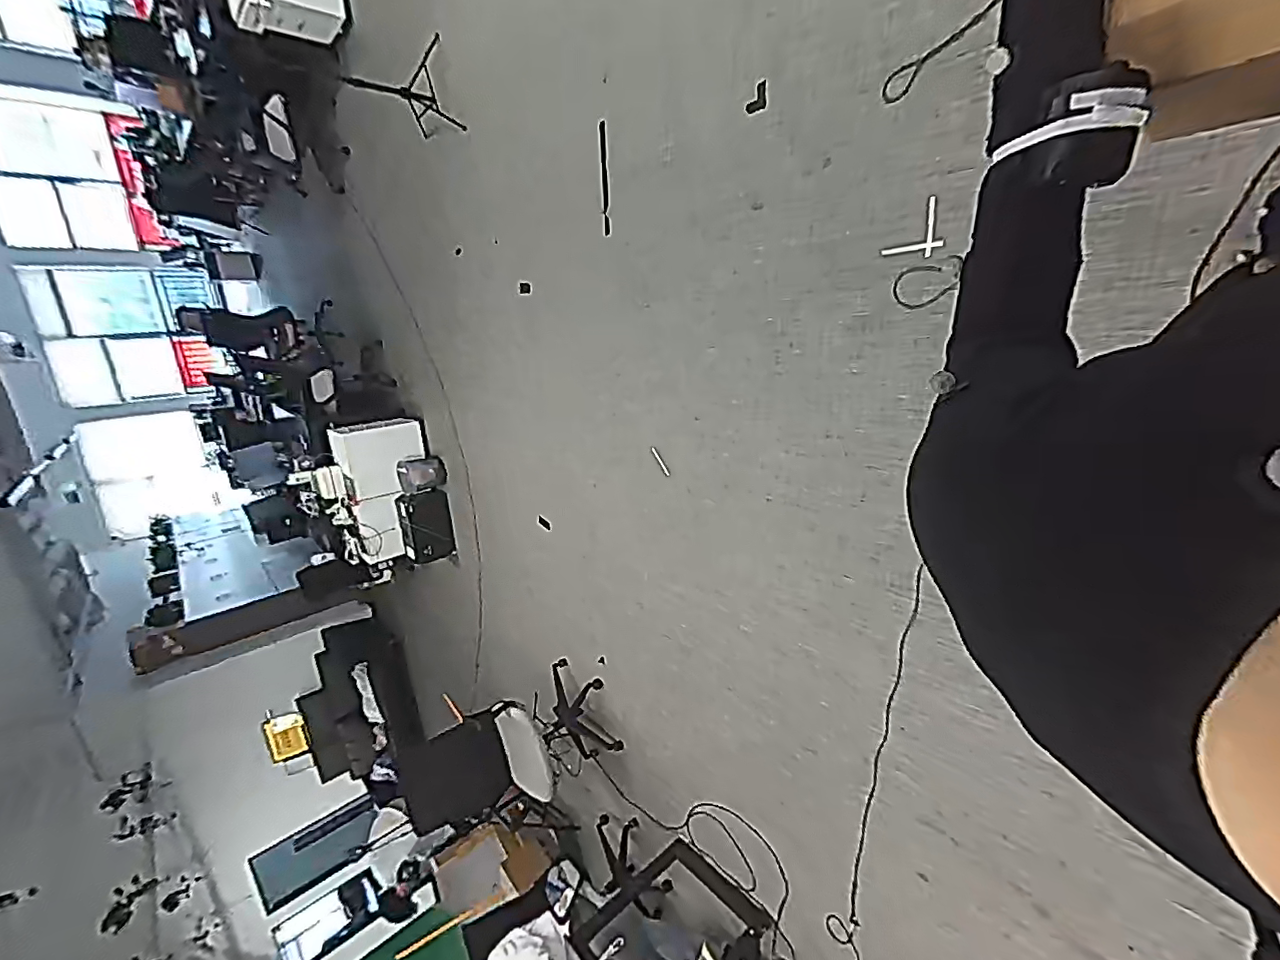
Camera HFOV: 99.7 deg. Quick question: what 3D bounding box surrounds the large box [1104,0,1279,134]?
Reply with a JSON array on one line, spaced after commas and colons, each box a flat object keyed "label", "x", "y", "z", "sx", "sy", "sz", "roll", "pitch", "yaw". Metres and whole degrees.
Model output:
[{"label": "large box", "x": 0.549, "y": -0.442, "z": 0.297, "sx": 0.408, "sy": 0.320, "sz": 0.320, "roll": 11, "pitch": 116, "yaw": 45}]
